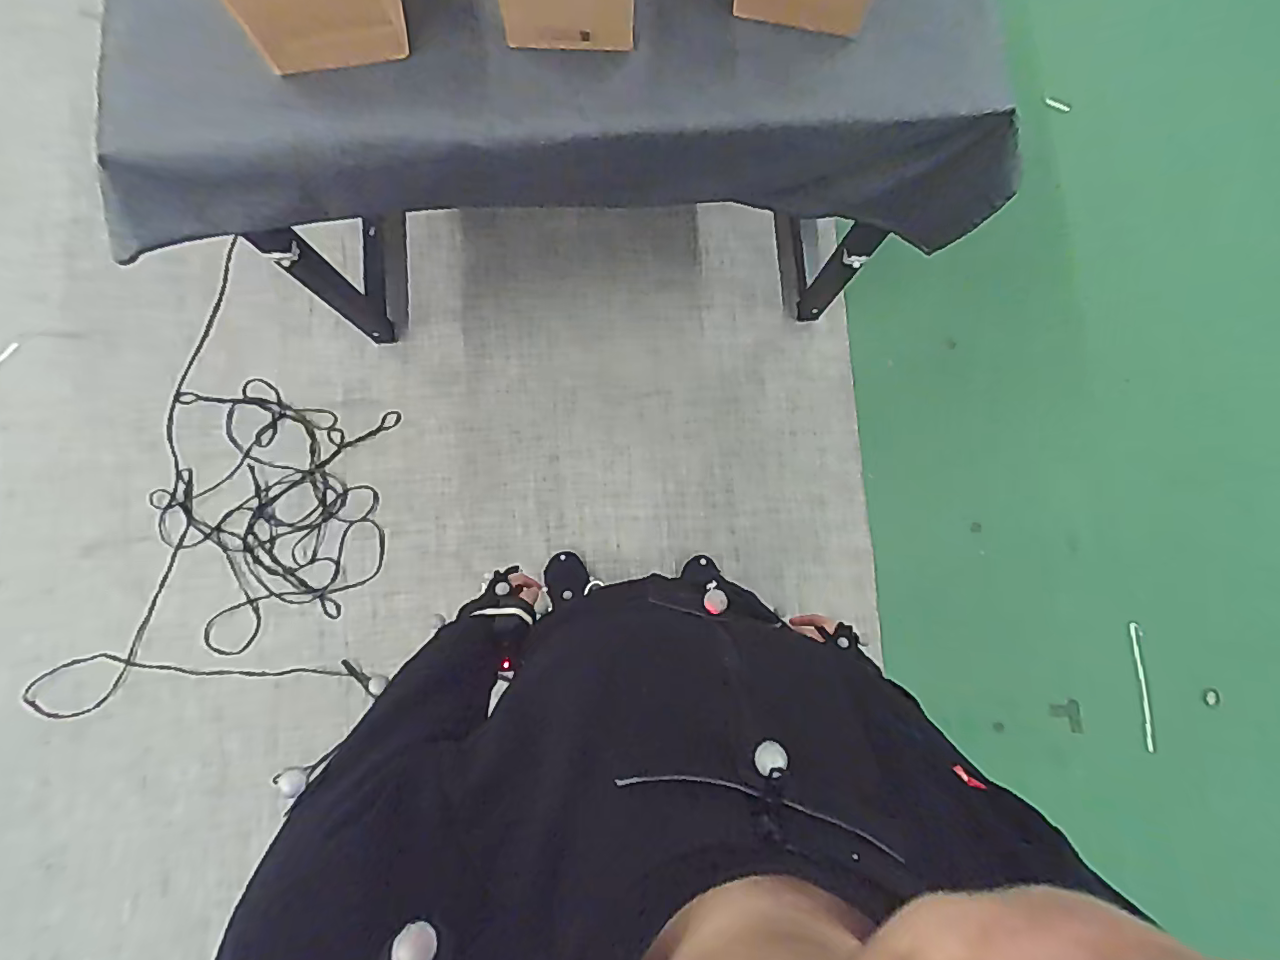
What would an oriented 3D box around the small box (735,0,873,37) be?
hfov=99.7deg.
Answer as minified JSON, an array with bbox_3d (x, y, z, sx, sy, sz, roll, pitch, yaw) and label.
[{"bbox_3d":[0.229,-0.702,0.670,0.179,0.176,0.168,10,82,1],"label":"small box"}]

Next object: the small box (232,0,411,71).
[{"bbox_3d":[-0.399,-0.630,0.642,0.179,0.176,0.168,-11,83,-4],"label":"small box"}]
